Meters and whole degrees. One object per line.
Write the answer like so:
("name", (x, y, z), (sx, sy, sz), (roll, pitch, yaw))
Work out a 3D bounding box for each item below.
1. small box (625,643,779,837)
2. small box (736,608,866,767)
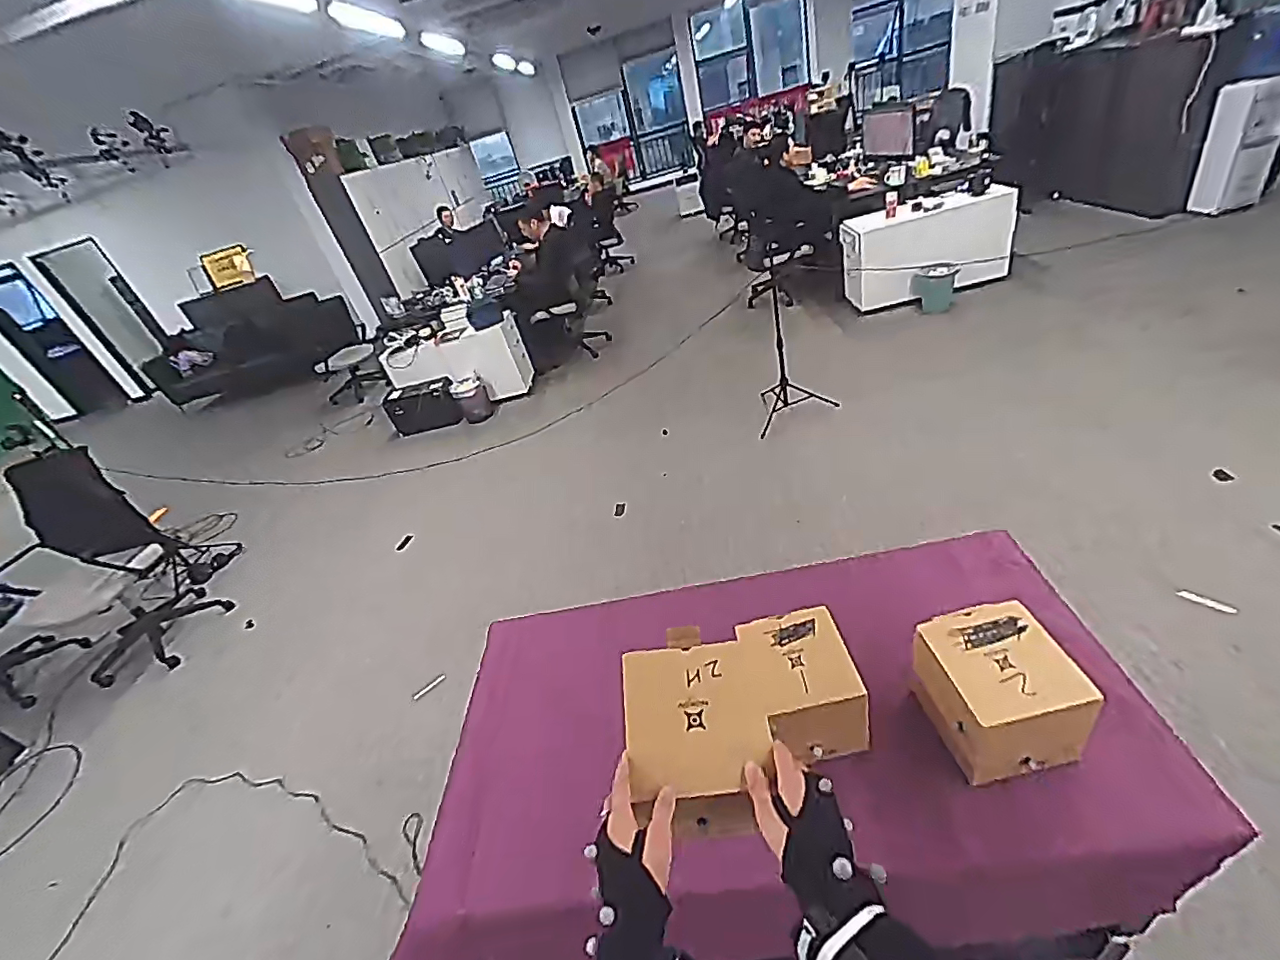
("small box", (0.074, 0.335, 0.689), (0.168, 0.176, 0.179), (-6, 42, 1))
("small box", (0.274, 0.356, 0.932), (0.168, 0.176, 0.179), (-15, 34, 4))
